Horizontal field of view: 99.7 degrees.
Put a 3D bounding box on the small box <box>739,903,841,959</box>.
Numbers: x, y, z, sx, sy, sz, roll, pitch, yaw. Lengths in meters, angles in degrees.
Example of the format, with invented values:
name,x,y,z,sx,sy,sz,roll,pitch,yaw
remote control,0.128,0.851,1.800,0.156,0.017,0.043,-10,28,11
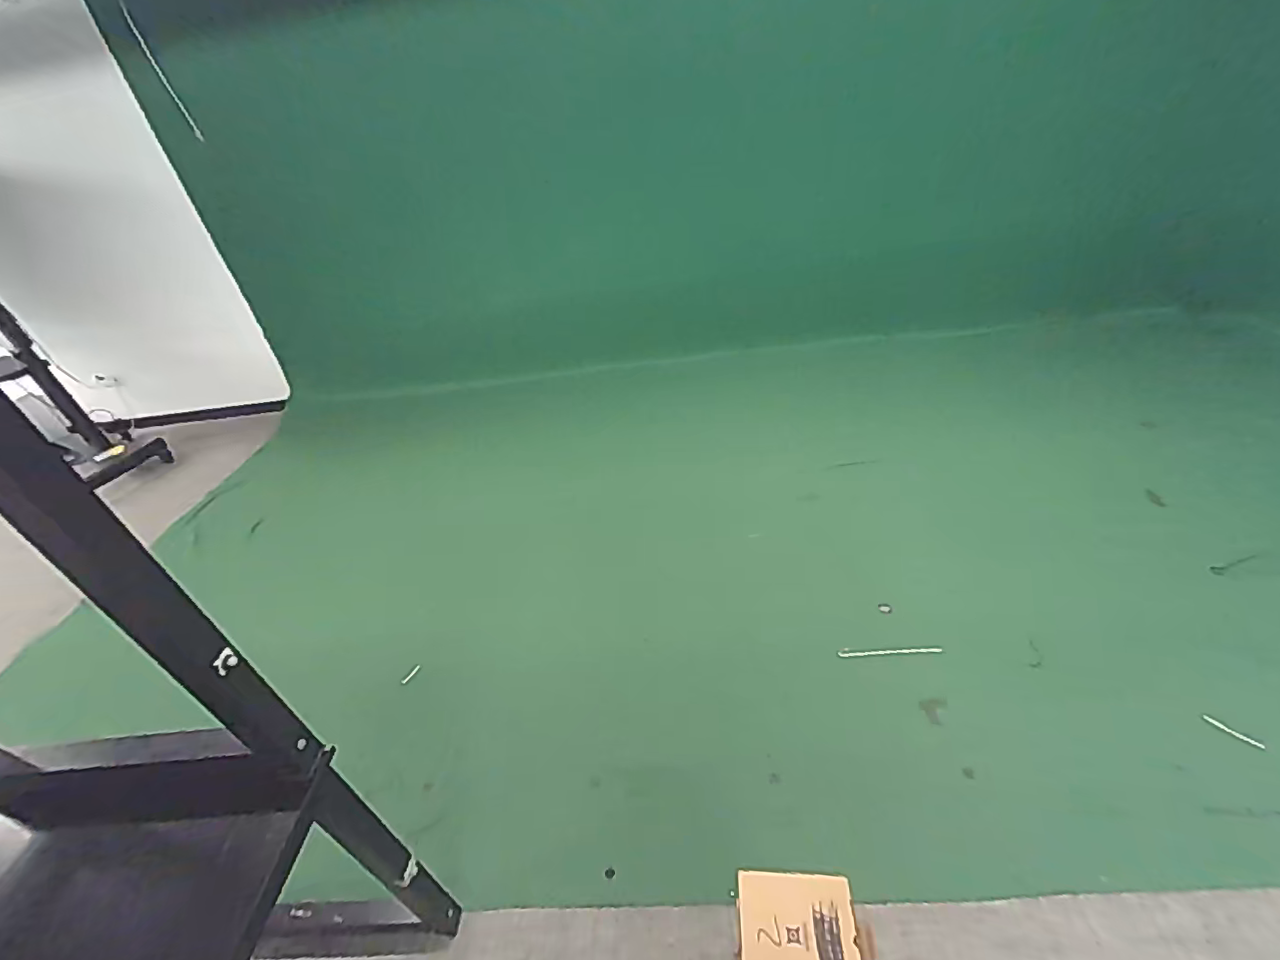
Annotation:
name,x,y,z,sx,sy,sz,roll,pitch,yaw
small box,0.264,0.877,0.946,0.168,0.176,0.179,-3,35,6
